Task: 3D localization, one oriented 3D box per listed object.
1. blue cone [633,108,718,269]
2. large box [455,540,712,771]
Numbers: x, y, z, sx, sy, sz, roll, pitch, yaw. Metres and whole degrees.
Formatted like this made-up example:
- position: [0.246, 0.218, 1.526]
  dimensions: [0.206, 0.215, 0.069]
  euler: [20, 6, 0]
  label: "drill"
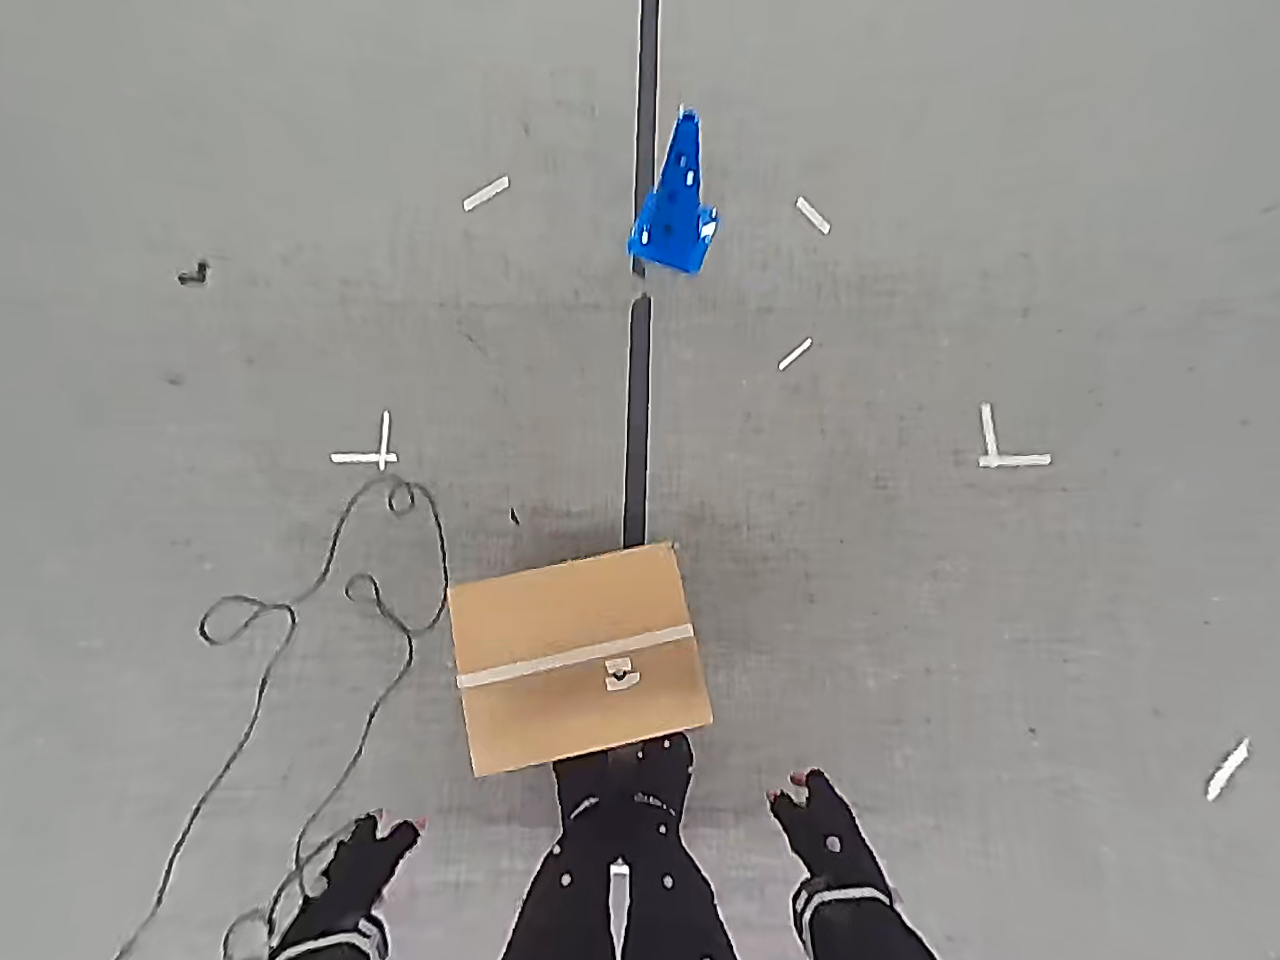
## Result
- position: [0.095, -0.679, 1.250]
  dimensions: [0.193, 0.380, 0.192]
  euler: [22, 79, 3]
  label: "blue cone"
- position: [-0.104, 0.328, 1.076]
  dimensions: [0.408, 0.320, 0.320]
  euler: [-11, 79, -3]
  label: "large box"
